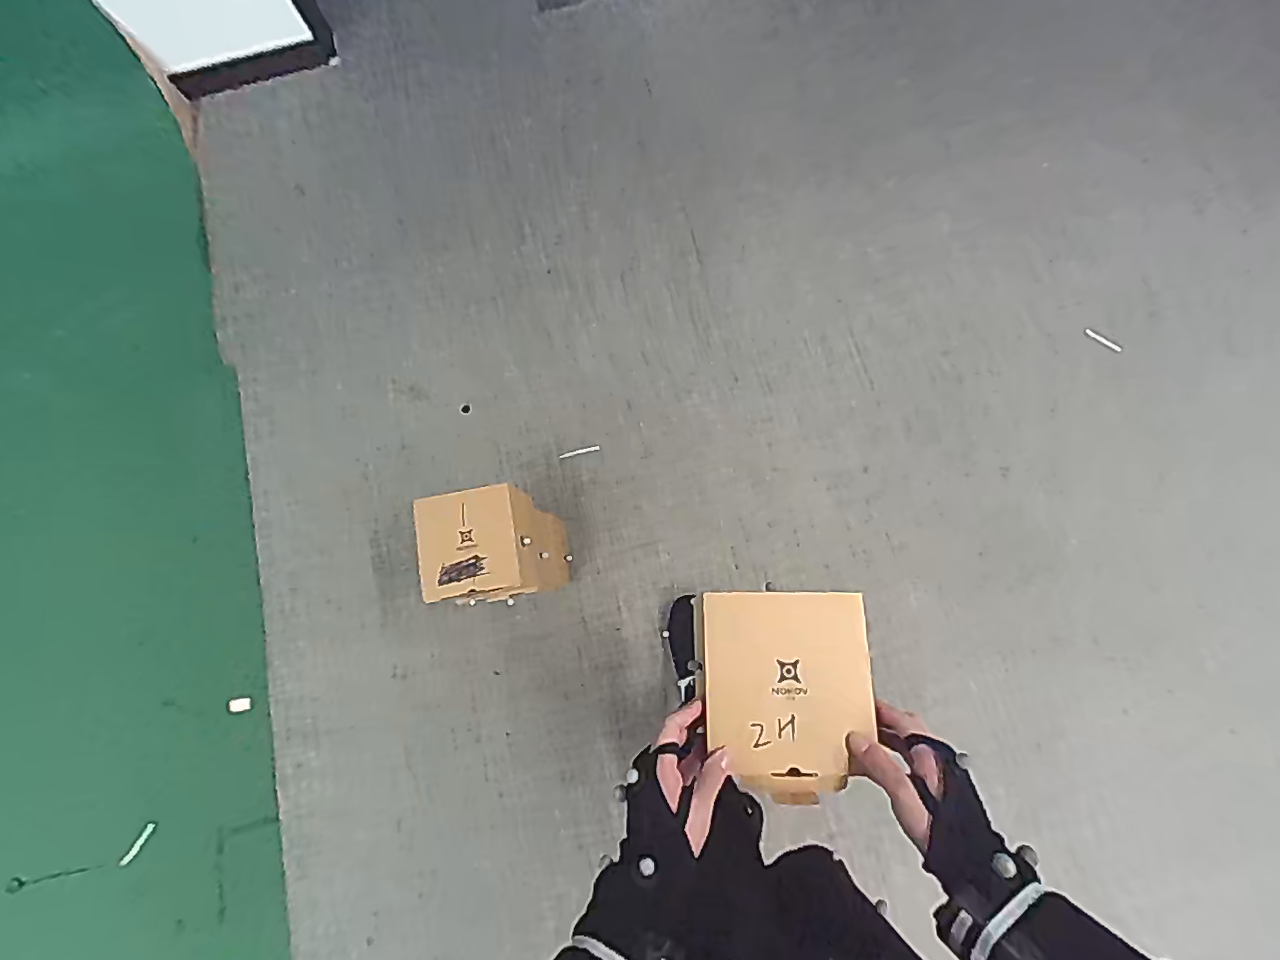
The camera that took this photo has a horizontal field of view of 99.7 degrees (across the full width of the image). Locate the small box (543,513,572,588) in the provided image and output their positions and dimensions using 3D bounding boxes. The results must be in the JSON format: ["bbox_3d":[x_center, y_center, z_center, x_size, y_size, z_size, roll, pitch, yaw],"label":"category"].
[{"bbox_3d":[-0.270,0.179,1.291,0.179,0.176,0.168,-9,80,0],"label":"small box"}]

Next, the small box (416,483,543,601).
[{"bbox_3d":[-0.279,0.114,0.970,0.168,0.176,0.179,-10,79,1],"label":"small box"}]

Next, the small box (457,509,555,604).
[{"bbox_3d":[-0.280,0.154,1.130,0.168,0.176,0.179,-9,81,0],"label":"small box"}]

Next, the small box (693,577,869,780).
[{"bbox_3d":[0.149,0.212,0.616,0.168,0.176,0.179,5,77,7],"label":"small box"}]
